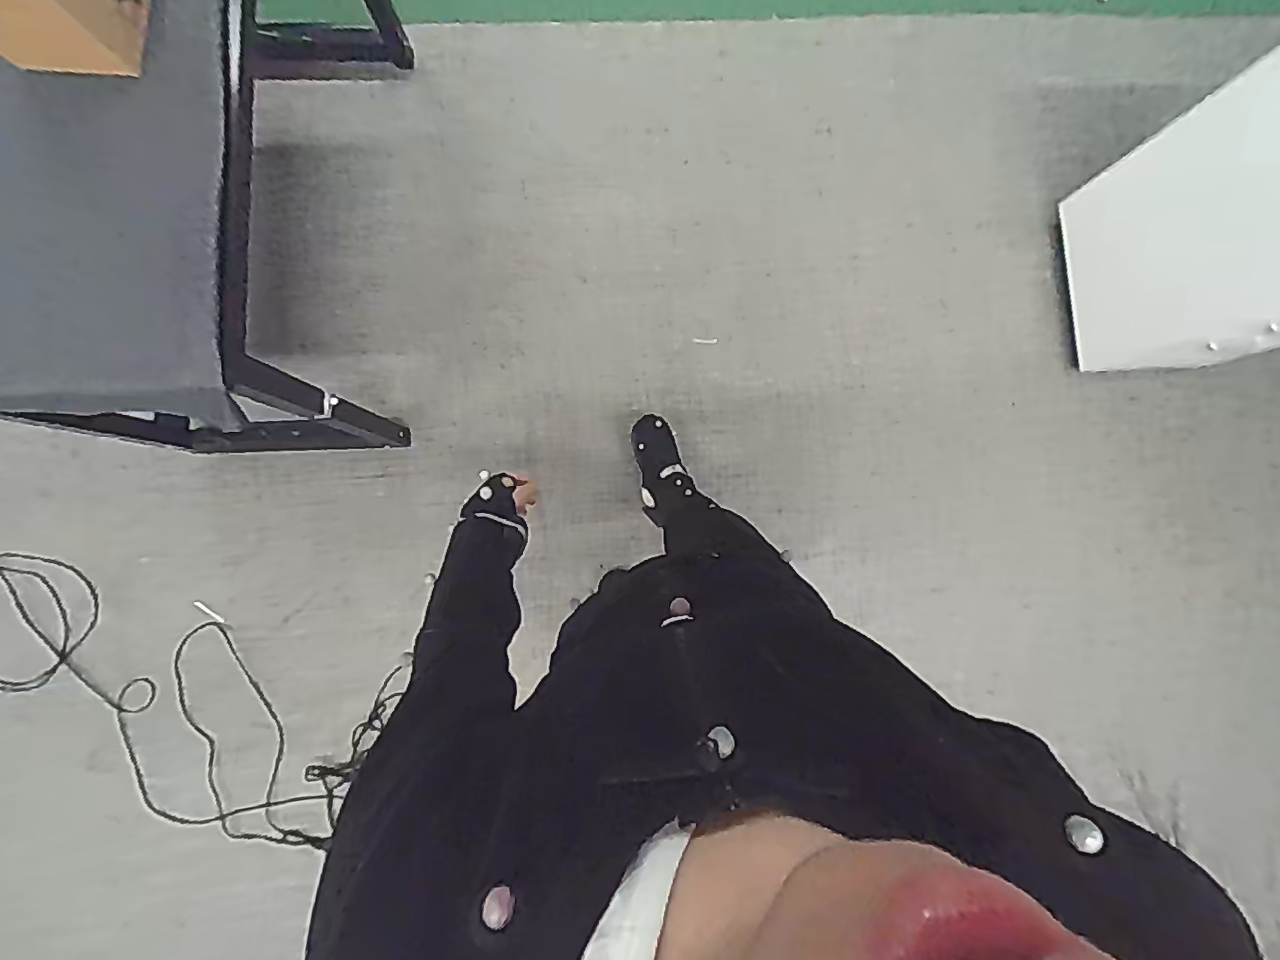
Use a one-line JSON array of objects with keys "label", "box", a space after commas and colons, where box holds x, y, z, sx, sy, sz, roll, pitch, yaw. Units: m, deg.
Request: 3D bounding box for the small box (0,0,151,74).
[{"label": "small box", "box": [-0.811, -0.680, 0.713, 0.179, 0.176, 0.168, 3, 85, -2]}]
